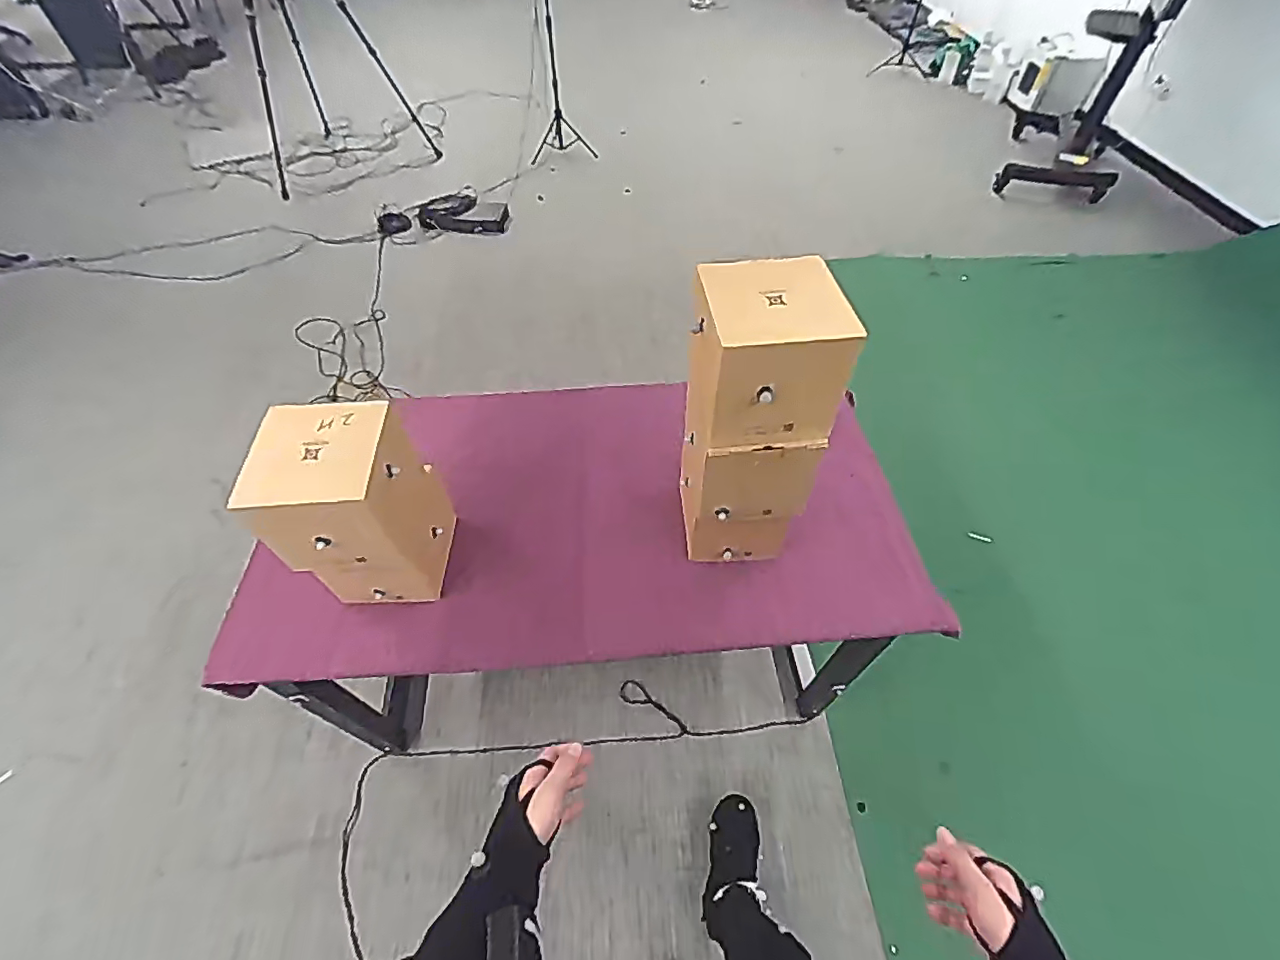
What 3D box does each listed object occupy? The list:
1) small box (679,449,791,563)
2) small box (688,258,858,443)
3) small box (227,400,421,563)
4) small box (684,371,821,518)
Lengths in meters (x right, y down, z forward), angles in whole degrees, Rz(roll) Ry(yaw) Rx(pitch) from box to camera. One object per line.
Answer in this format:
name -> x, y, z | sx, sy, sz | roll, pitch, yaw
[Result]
small box -> 0.160, 0.031, 0.969 | 0.168, 0.176, 0.179 | -2, 52, 0
small box -> 0.157, -0.162, 0.706 | 0.168, 0.176, 0.179 | -5, 51, -2
small box -> -0.430, 0.009, 0.774 | 0.168, 0.176, 0.179 | -3, 54, -3
small box -> 0.159, -0.053, 0.828 | 0.168, 0.176, 0.179 | -4, 51, -2
